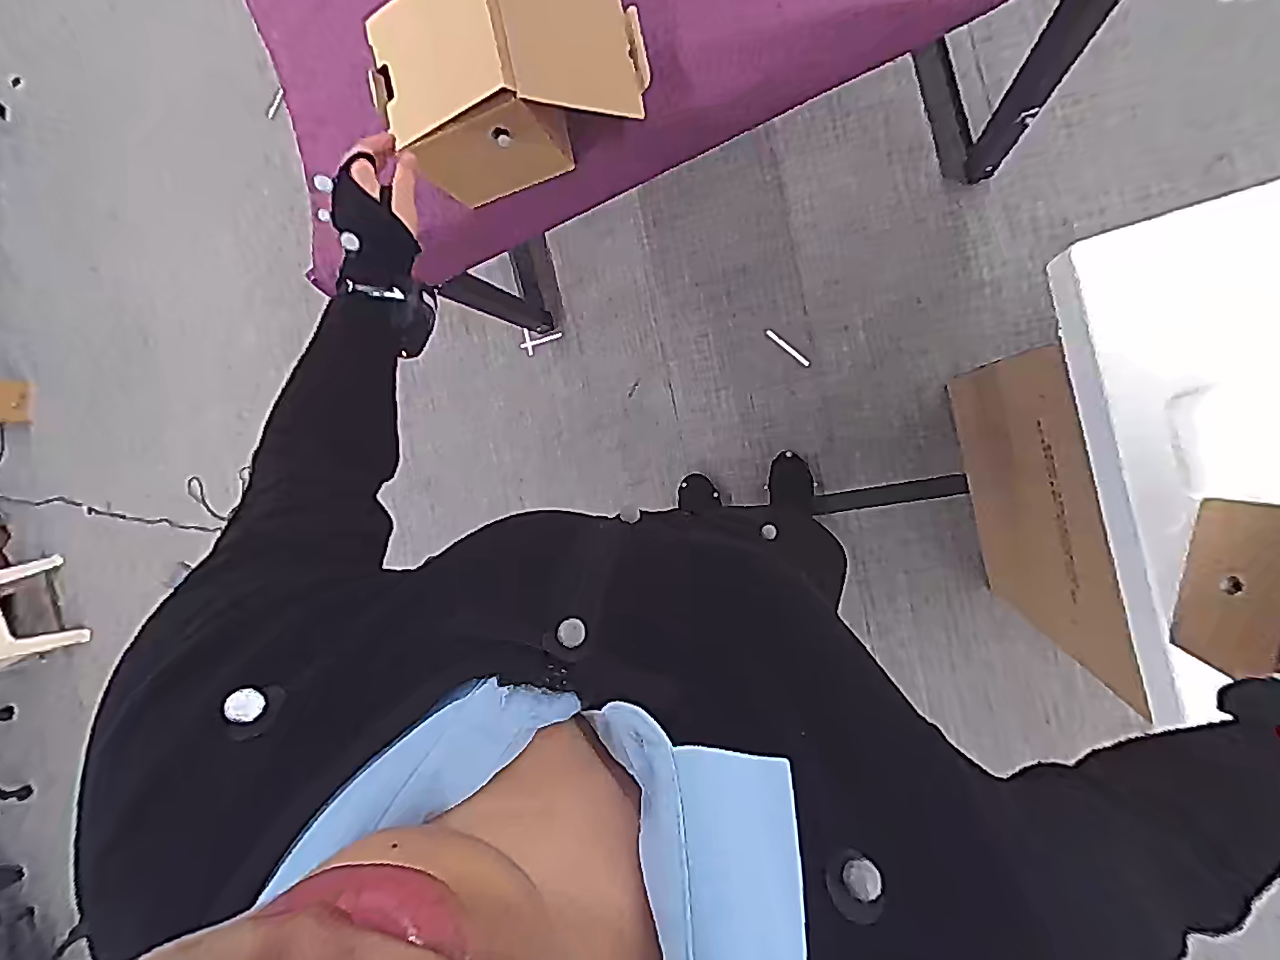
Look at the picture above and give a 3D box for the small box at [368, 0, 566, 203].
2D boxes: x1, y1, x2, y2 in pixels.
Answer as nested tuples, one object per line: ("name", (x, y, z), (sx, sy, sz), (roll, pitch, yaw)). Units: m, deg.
("small box", (-0.210, -0.498, 0.706), (0.179, 0.176, 0.168), (-11, 91, 17))
